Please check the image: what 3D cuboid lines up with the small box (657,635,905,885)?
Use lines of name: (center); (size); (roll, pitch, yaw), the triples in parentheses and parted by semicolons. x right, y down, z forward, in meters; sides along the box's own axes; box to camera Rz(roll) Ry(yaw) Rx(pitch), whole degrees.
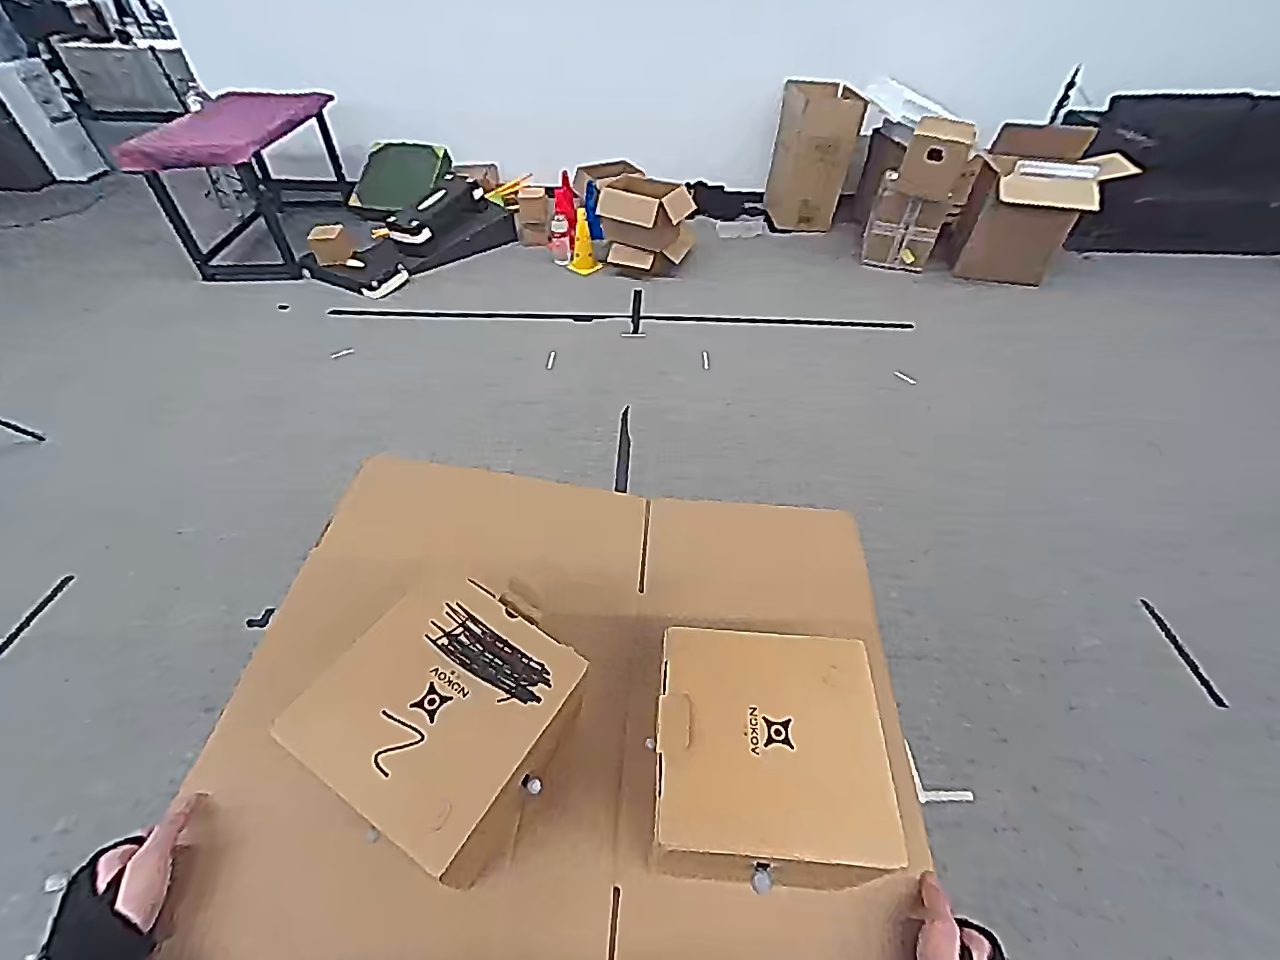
small box: (0.108, 0.260, 0.498); (0.179, 0.176, 0.168); (3, 48, 3)
